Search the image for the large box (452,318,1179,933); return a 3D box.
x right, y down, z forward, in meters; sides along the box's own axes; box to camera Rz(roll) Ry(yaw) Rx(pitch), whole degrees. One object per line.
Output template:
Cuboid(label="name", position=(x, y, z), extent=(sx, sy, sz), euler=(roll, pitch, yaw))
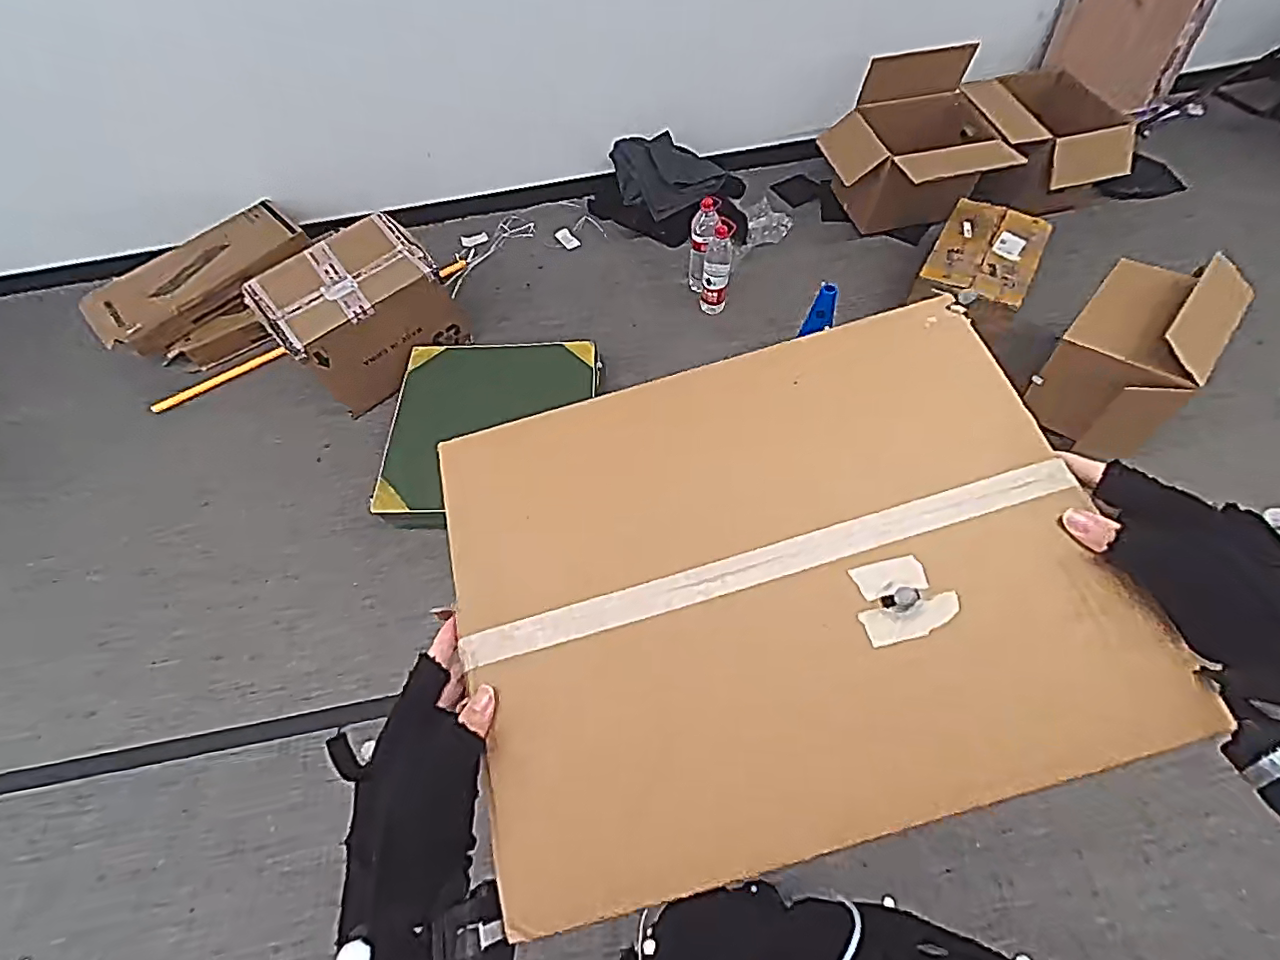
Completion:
Cuboid(label="large box", position=(0.096, 0.120, 0.501), extent=(0.408, 0.320, 0.320), euler=(-17, 67, -2))
